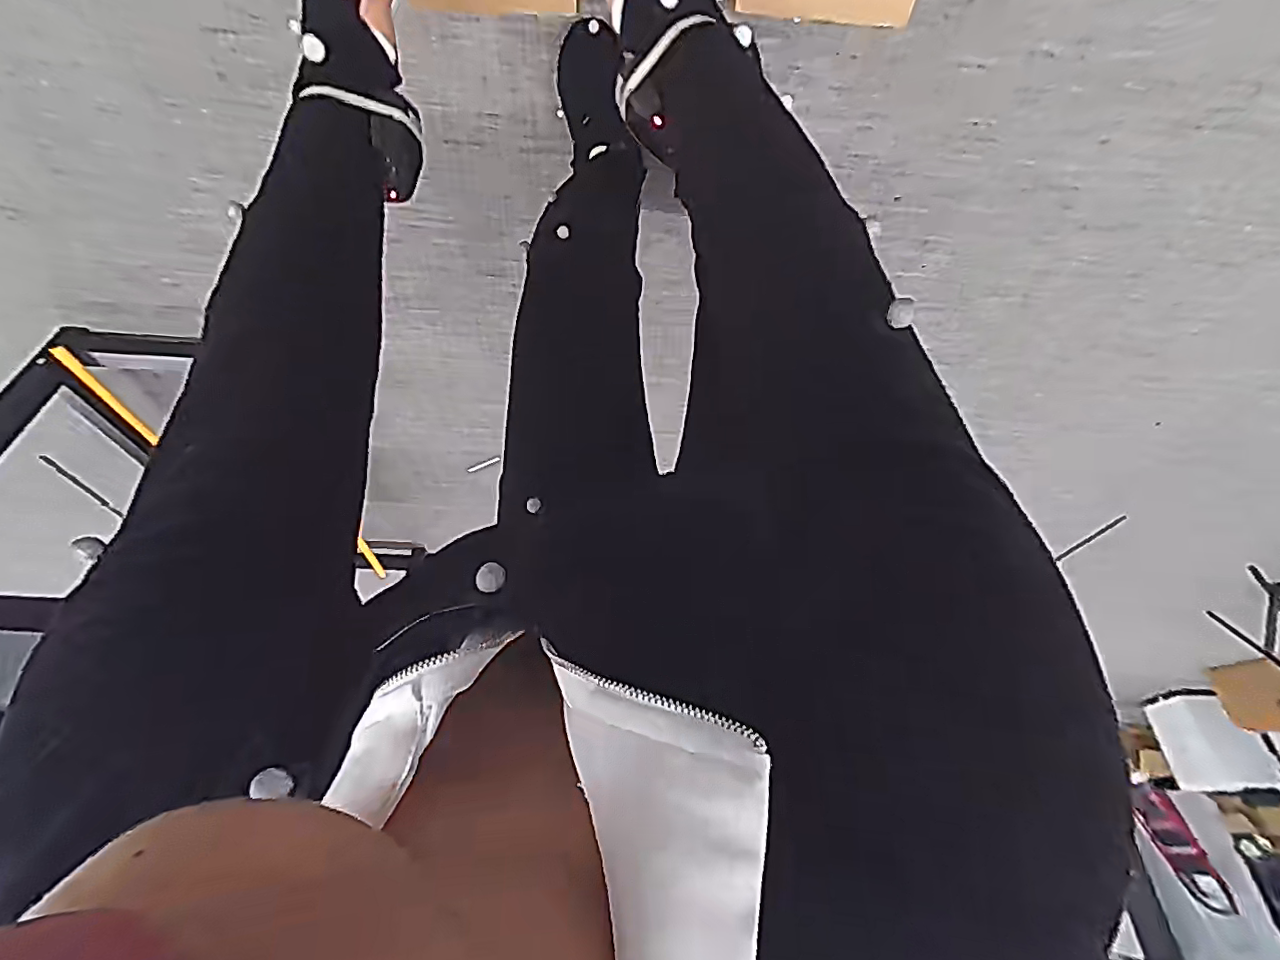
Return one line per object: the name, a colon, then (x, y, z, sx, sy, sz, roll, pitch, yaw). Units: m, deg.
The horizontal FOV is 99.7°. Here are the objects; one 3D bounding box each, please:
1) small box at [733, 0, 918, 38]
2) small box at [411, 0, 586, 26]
small box: (0.182, -0.553, 0.507, 0.179, 0.176, 0.168, 2, 146, -4)
small box: (-0.133, -0.564, 0.502, 0.168, 0.176, 0.179, 3, 147, 0)
